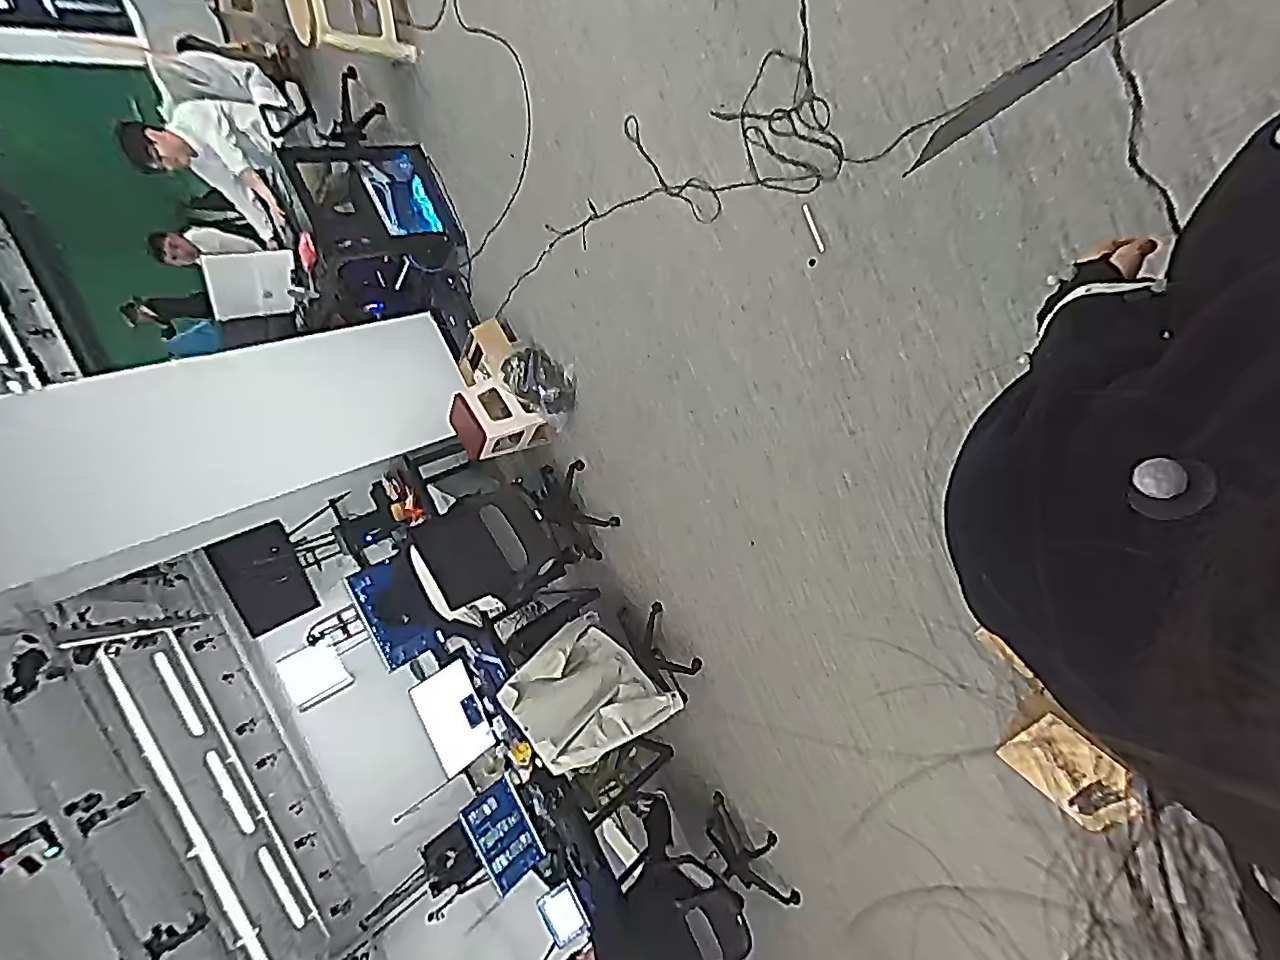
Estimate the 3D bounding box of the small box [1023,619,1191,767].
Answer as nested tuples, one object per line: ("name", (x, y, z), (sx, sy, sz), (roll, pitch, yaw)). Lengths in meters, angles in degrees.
("small box", (0.911, 0.408, 1.056), (0.179, 0.176, 0.168), (42, 139, 30))
